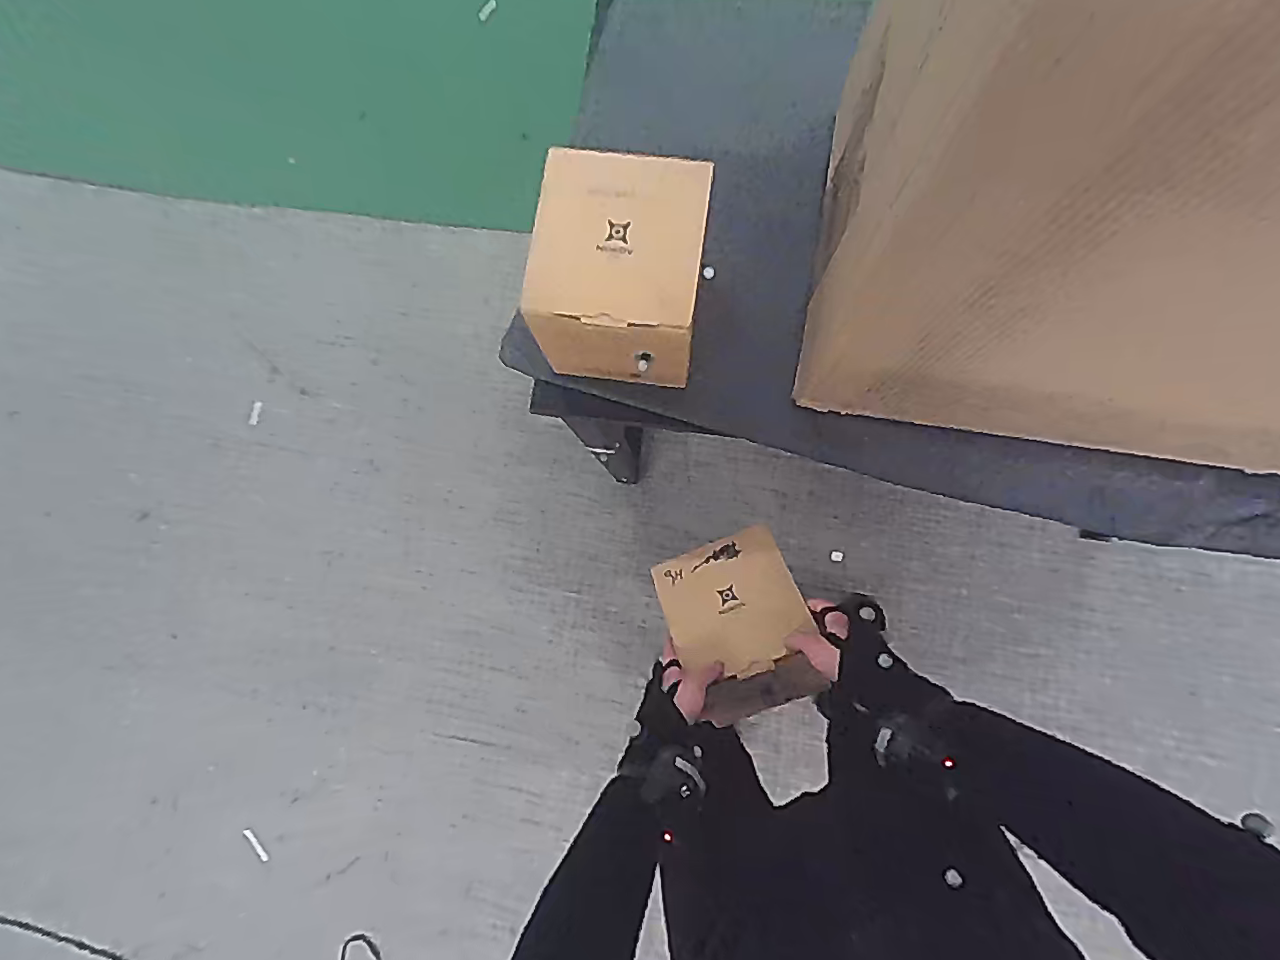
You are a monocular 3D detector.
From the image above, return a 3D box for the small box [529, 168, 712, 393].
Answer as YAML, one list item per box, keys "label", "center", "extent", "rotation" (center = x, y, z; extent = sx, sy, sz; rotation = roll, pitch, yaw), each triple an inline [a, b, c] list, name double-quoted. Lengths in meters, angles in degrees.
- label: "small box"
  center: [-0.014, -0.211, 0.610]
  extent: [0.168, 0.176, 0.179]
  rotation: [6, 79, 3]
